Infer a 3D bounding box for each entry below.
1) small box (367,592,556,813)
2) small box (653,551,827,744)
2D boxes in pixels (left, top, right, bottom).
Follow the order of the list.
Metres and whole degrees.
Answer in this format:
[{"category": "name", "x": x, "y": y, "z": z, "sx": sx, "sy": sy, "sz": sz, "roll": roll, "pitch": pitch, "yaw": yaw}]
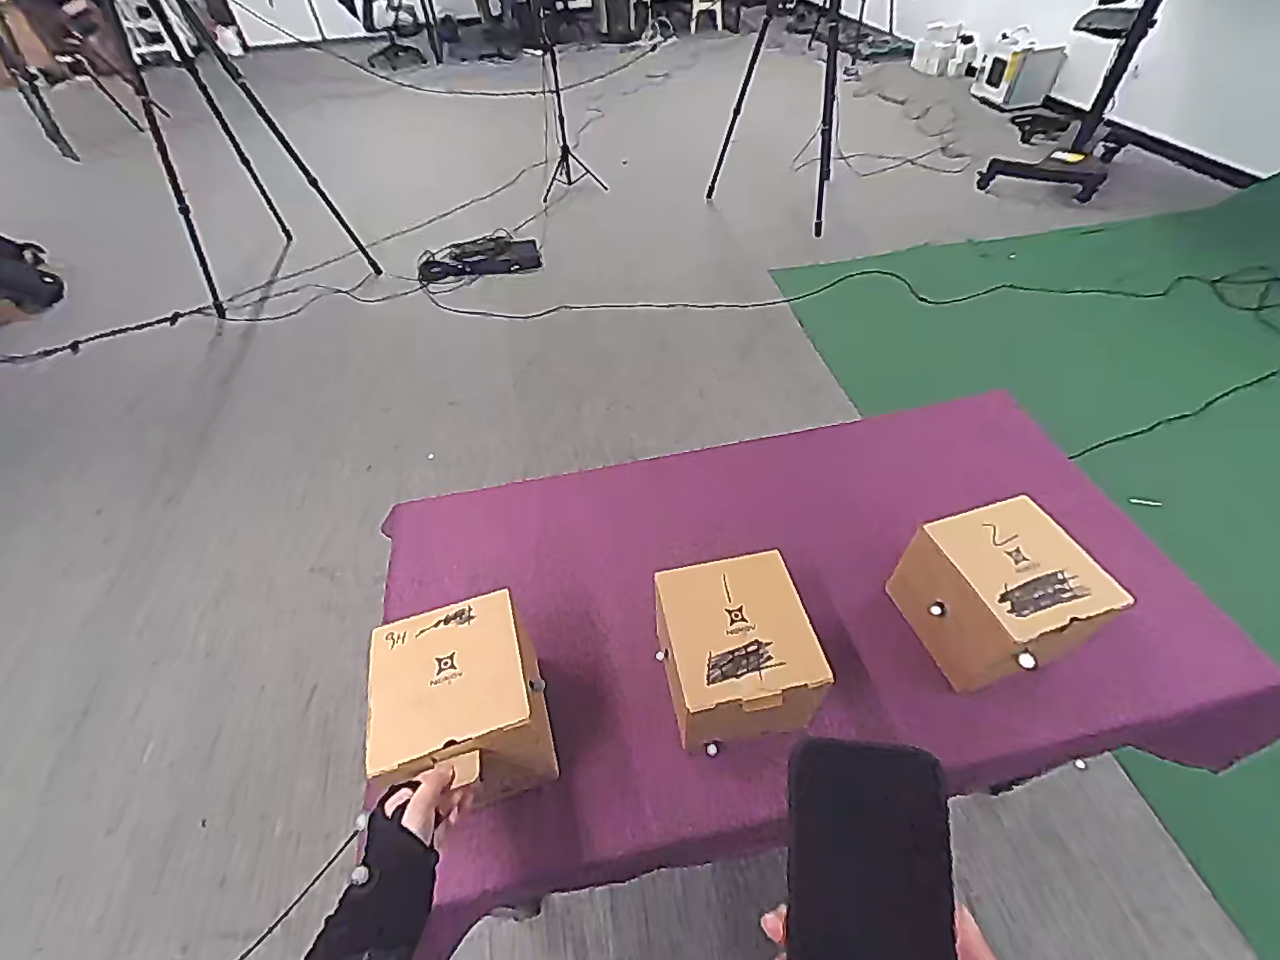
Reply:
[{"category": "small box", "x": -0.208, "y": 0.272, "z": 0.652, "sx": 0.168, "sy": 0.176, "sz": 0.179, "roll": -16, "pitch": 44, "yaw": -10}, {"category": "small box", "x": 0.115, "y": 0.220, "z": 0.693, "sx": 0.168, "sy": 0.176, "sz": 0.179, "roll": -10, "pitch": 48, "yaw": -5}]
